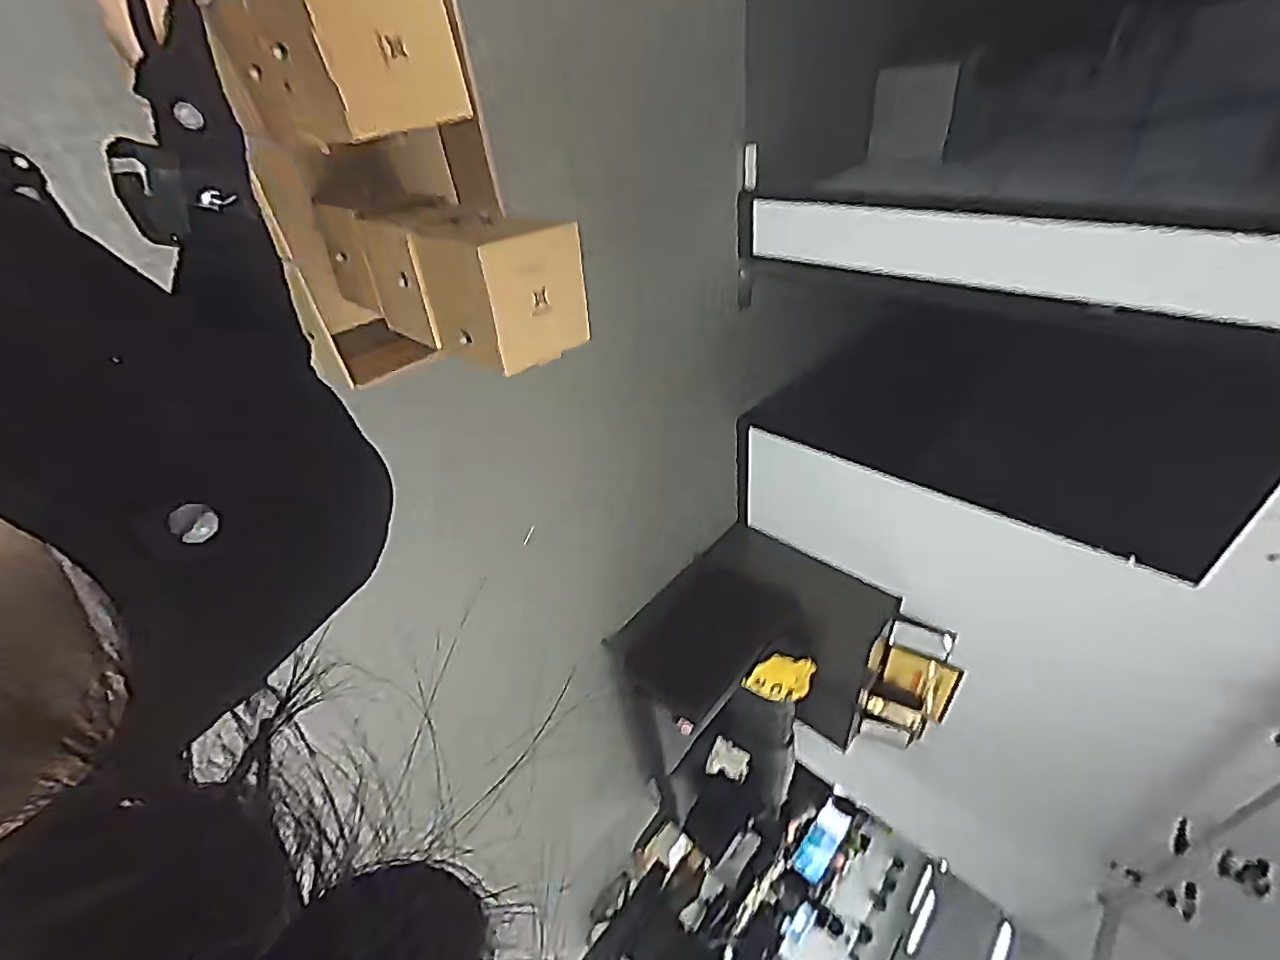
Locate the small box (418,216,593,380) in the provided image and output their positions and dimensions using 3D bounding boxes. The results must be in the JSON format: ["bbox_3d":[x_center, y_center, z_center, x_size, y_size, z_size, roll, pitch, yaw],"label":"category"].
[{"bbox_3d":[-0.191,-0.271,0.784,0.168,0.176,0.179,-33,134,-36],"label":"small box"}]

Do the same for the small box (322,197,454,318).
[{"bbox_3d":[-0.434,-0.401,0.960,0.179,0.176,0.168,-31,133,-36],"label":"small box"}]

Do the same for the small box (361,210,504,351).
[{"bbox_3d":[-0.316,-0.329,0.871,0.168,0.176,0.179,-33,134,-35],"label":"small box"}]
